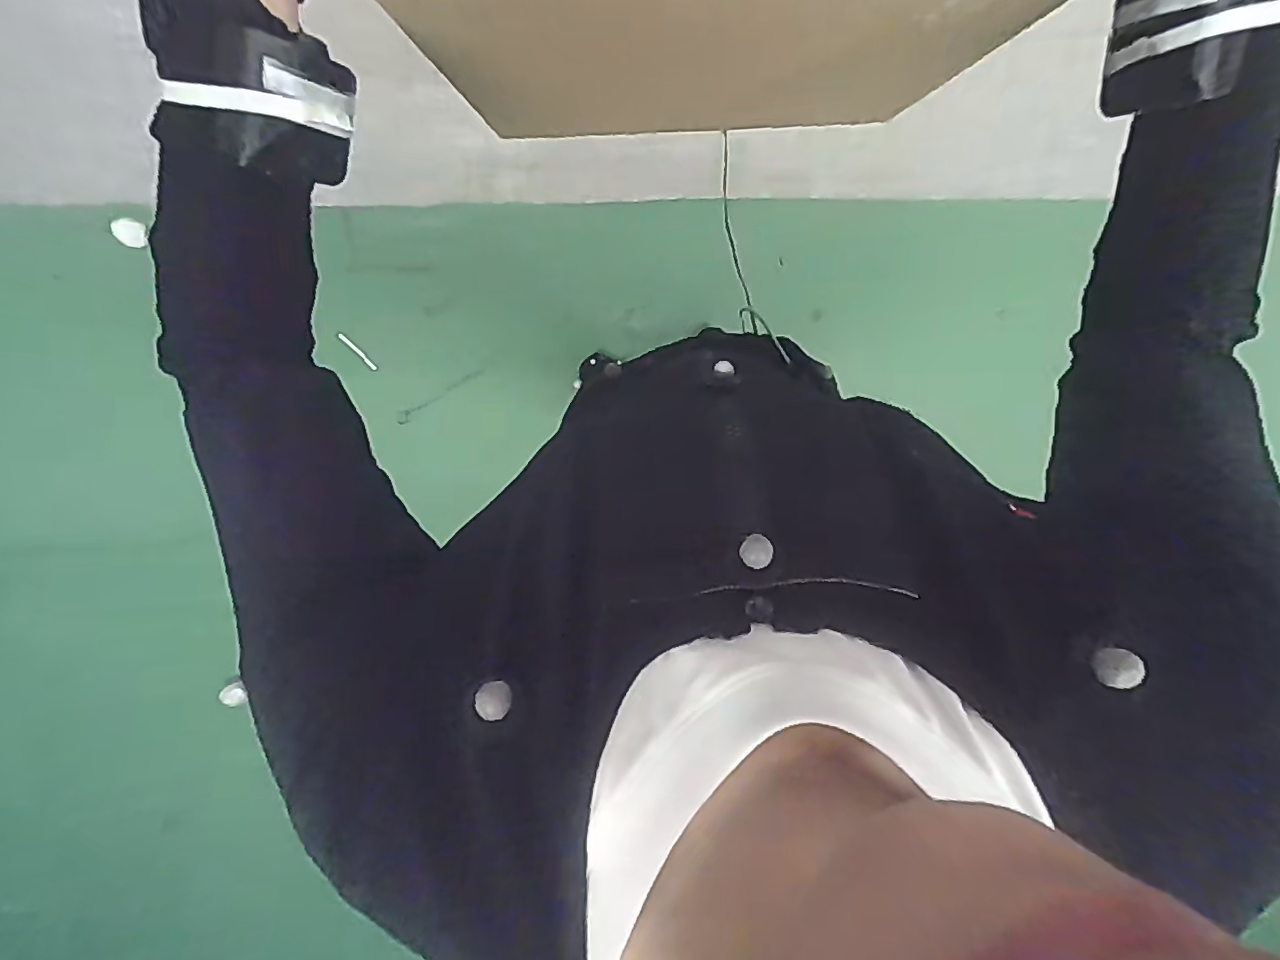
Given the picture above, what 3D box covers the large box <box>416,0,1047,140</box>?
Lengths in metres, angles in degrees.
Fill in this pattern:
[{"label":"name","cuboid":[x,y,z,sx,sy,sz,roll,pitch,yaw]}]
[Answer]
[{"label":"large box","cuboid":[0.056,-0.458,0.368,0.408,0.320,0.320,-3,110,-1]}]
